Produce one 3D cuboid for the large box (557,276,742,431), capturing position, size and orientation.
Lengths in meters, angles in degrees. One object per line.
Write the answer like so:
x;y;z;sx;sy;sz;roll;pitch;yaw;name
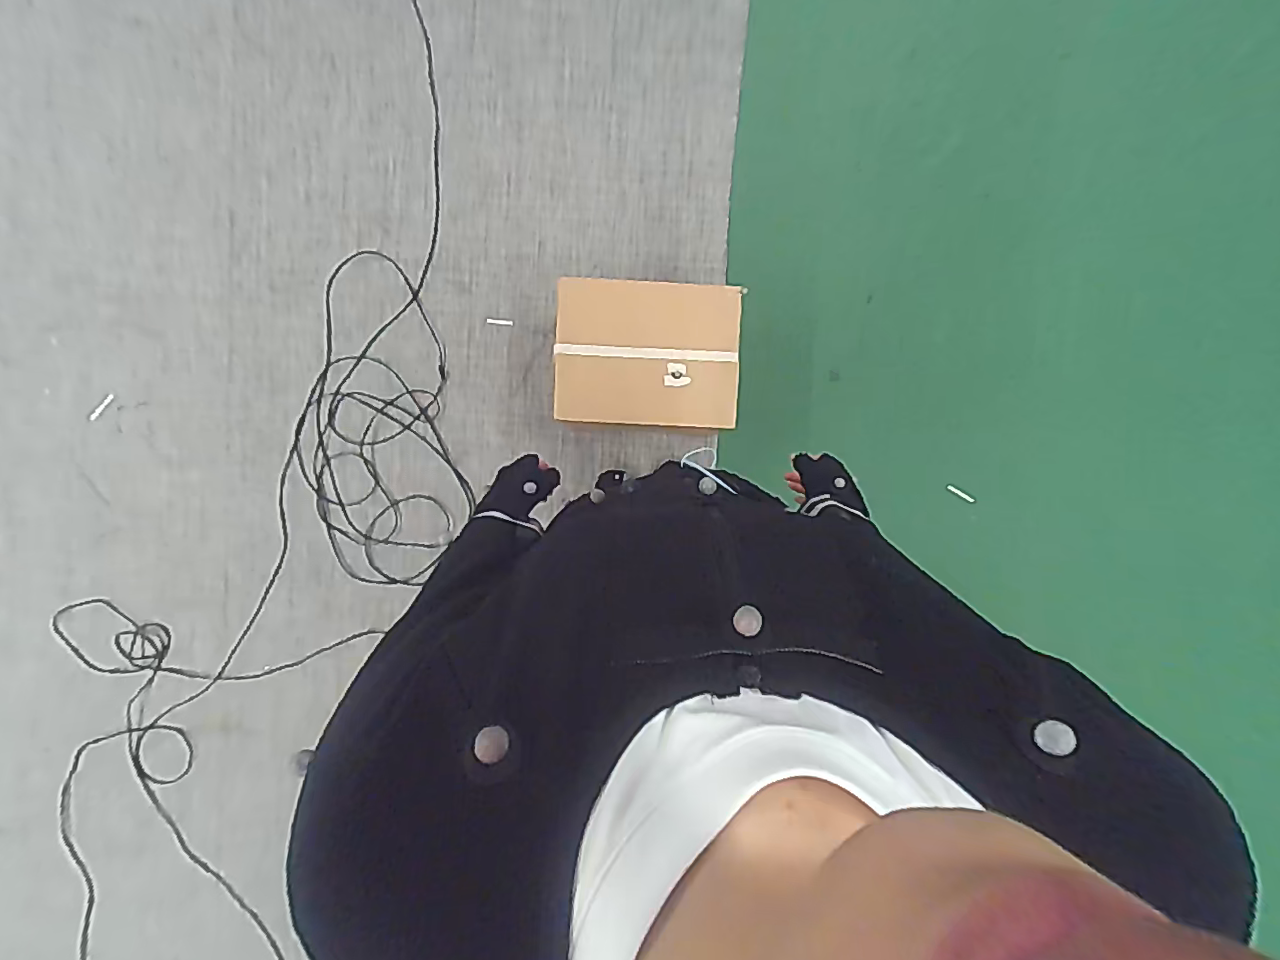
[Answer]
0.014;-0.288;1.329;0.408;0.320;0.320;3;92;-2;large box
